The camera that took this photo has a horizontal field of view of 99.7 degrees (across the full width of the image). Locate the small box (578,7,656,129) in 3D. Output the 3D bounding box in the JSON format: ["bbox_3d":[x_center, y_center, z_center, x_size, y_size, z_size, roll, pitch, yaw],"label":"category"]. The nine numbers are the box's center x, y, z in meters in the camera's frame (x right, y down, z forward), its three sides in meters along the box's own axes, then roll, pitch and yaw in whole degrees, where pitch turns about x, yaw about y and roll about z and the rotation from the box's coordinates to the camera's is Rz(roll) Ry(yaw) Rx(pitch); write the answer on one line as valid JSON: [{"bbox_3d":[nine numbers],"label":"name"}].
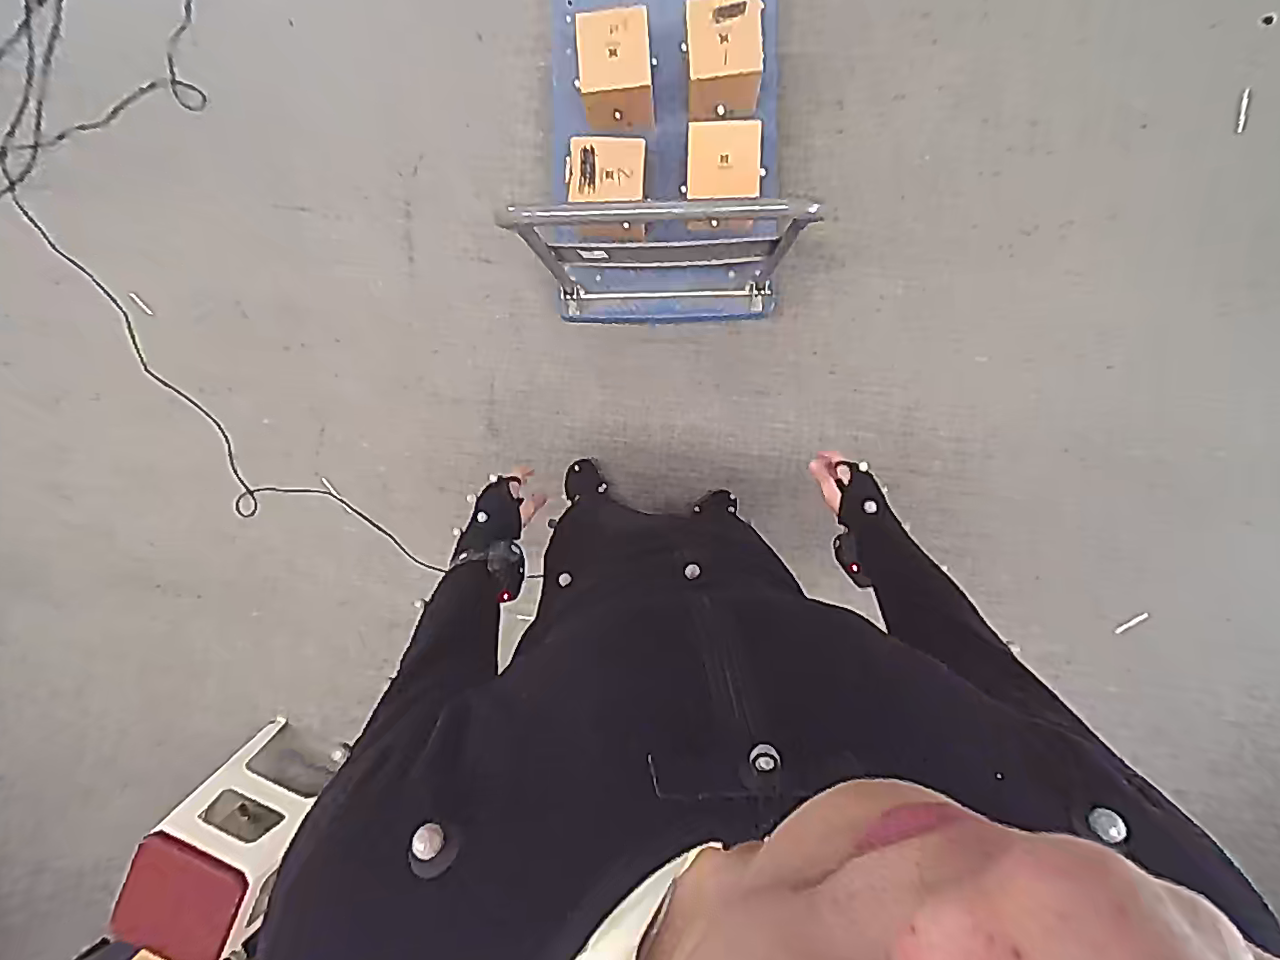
[{"bbox_3d":[-0.050,-0.982,1.309,0.168,0.176,0.179,-3,94,4],"label":"small box"}]

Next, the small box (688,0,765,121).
[{"bbox_3d":[0.201,-0.998,1.288,0.168,0.176,0.179,-3,95,6],"label":"small box"}]

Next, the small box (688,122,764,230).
[{"bbox_3d":[0.202,-0.729,1.309,0.168,0.176,0.179,1,95,4],"label":"small box"}]
